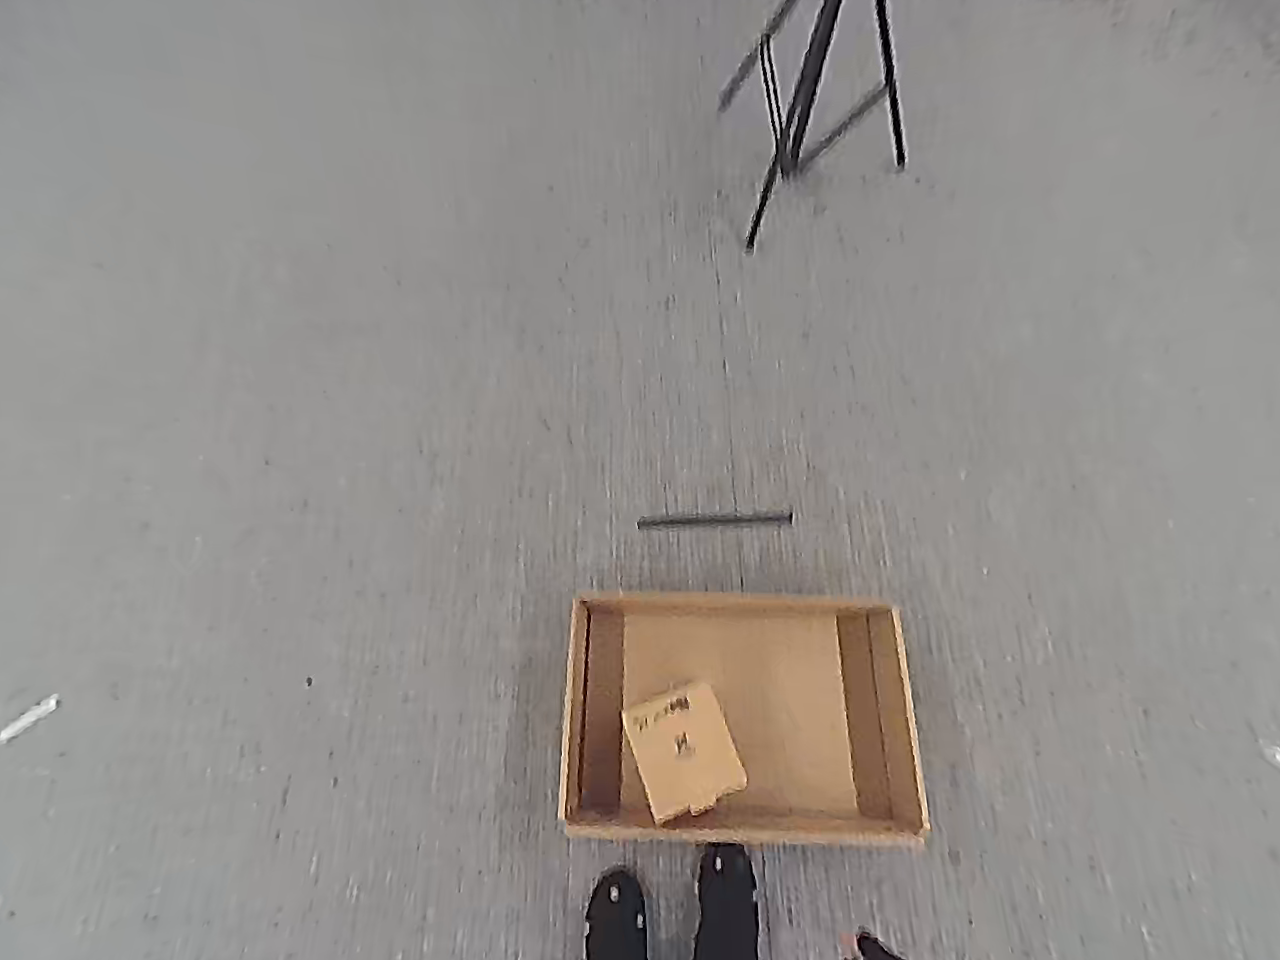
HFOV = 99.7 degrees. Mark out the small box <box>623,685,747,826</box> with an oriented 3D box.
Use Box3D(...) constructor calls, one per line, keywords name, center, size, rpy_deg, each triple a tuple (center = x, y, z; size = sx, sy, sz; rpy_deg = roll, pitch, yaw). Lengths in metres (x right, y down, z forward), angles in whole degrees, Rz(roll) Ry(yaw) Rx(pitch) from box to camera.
Box3D(name="small box", center=(0.075, 0.486, 0.978), size=(0.168, 0.176, 0.179), rpy_deg=(-18, 68, -8))
